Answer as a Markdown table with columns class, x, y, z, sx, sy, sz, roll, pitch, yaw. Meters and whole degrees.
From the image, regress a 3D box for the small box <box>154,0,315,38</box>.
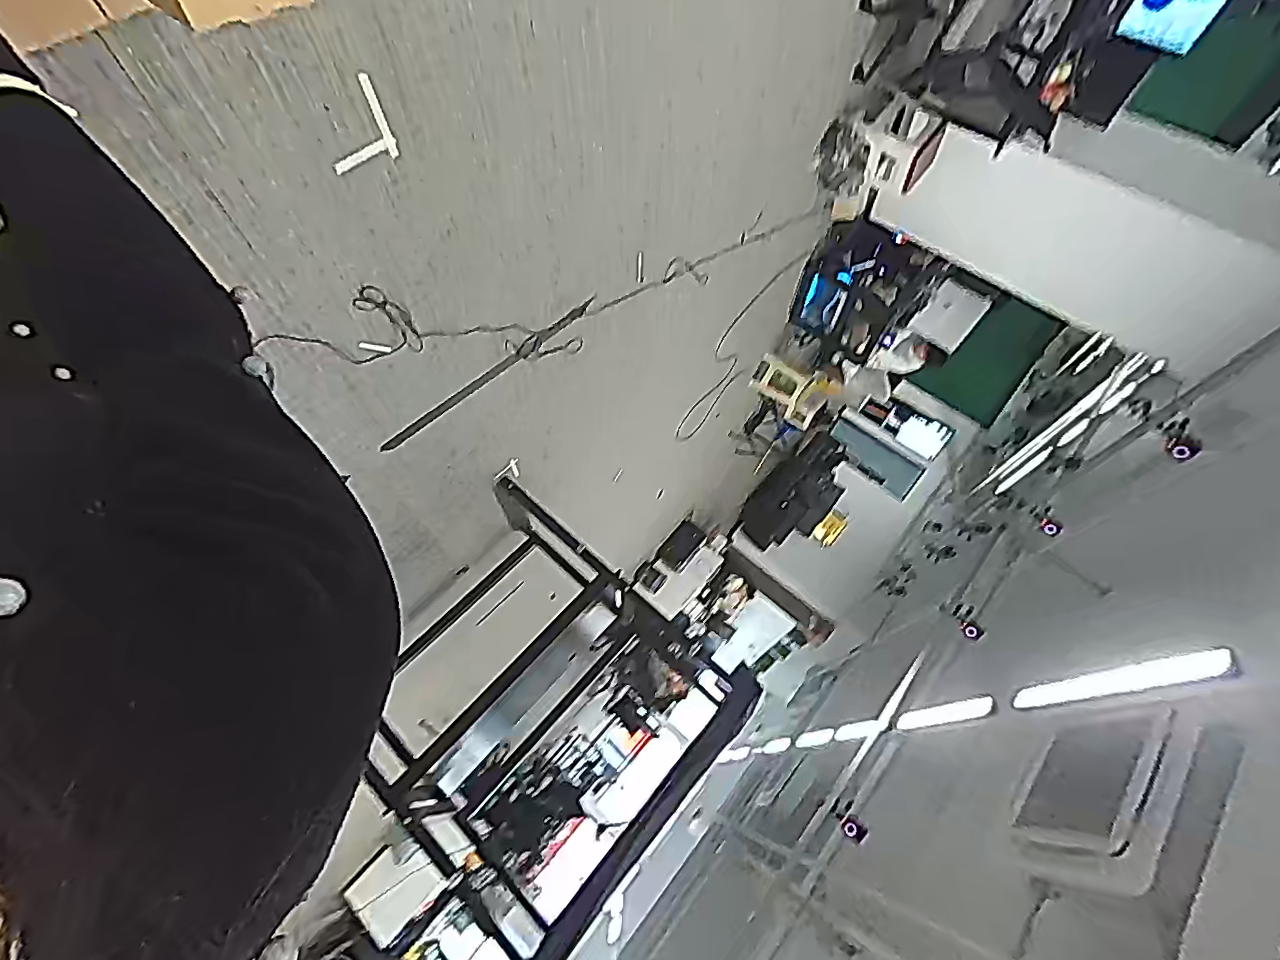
| class | x | y | z | sx | sy | sz | roll | pitch | yaw |
| --- | --- | --- | --- | --- | --- | --- | --- | --- | --- |
| small box | -0.554 | -0.693 | 0.660 | 0.168 | 0.176 | 0.179 | -43 | 161 | -24 |
